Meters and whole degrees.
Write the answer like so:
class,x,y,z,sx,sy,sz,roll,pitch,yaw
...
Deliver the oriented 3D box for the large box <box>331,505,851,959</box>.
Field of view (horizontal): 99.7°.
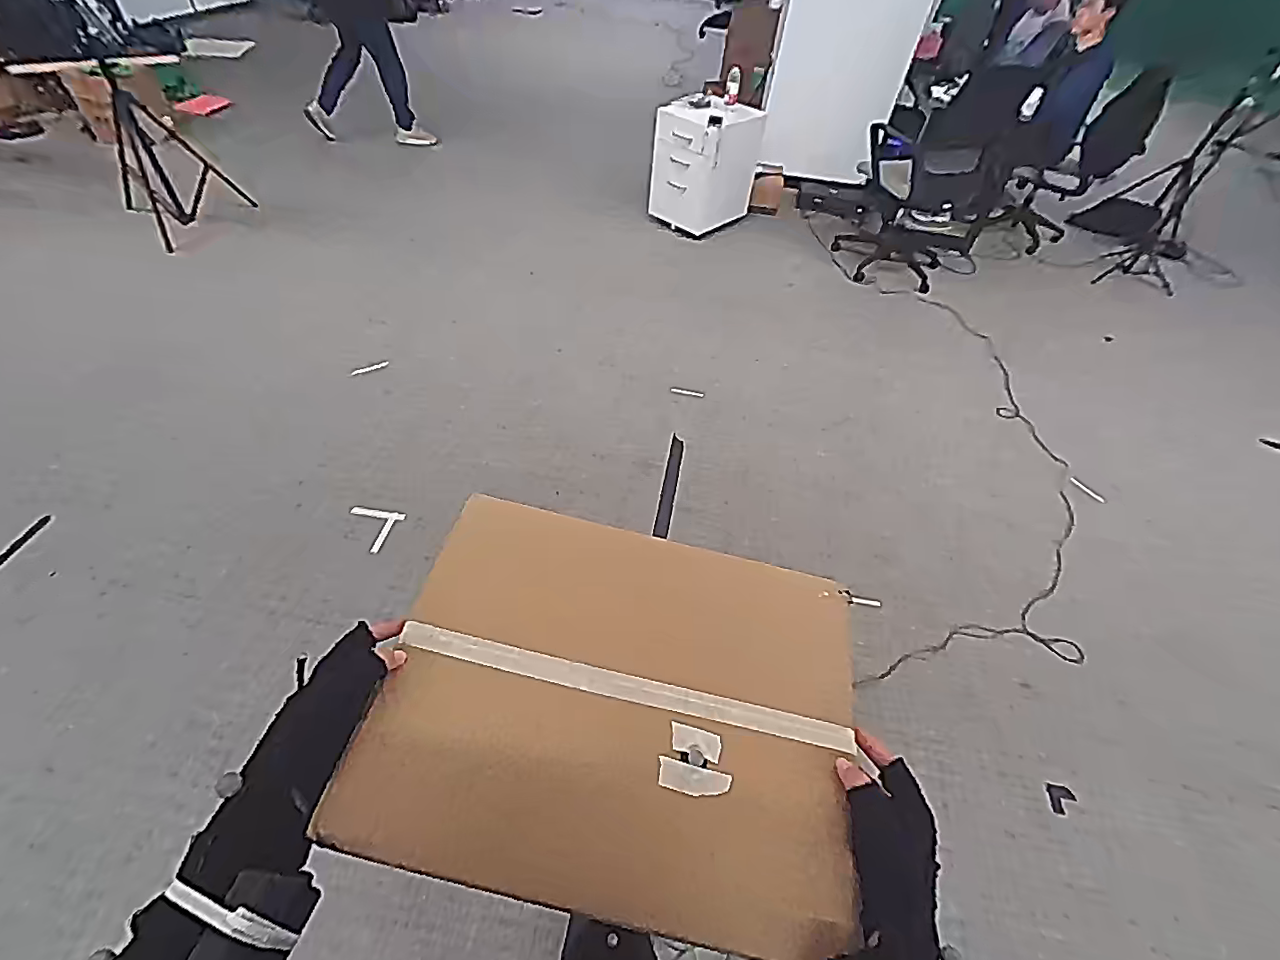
class,x,y,z,sx,sy,sz,roll,pitch,yaw
large box,-0.031,0.275,0.603,0.408,0.320,0.320,14,53,1
